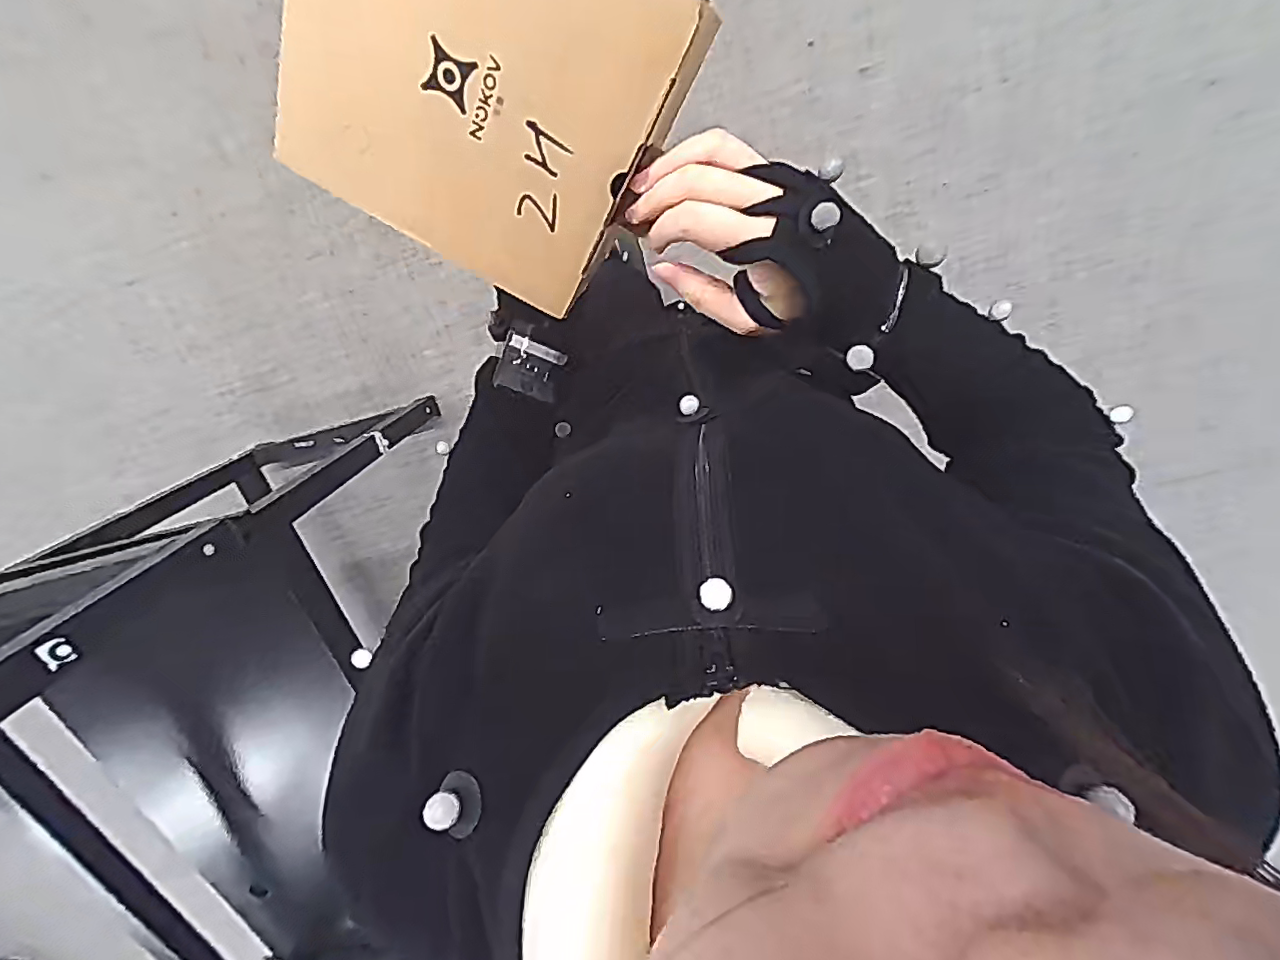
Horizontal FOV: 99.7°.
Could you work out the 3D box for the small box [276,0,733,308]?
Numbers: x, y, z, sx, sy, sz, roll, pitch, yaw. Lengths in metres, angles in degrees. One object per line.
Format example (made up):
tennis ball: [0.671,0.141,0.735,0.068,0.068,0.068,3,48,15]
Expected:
small box: [-0.064,-0.237,0.312,0.179,0.176,0.168,28,128,-12]
